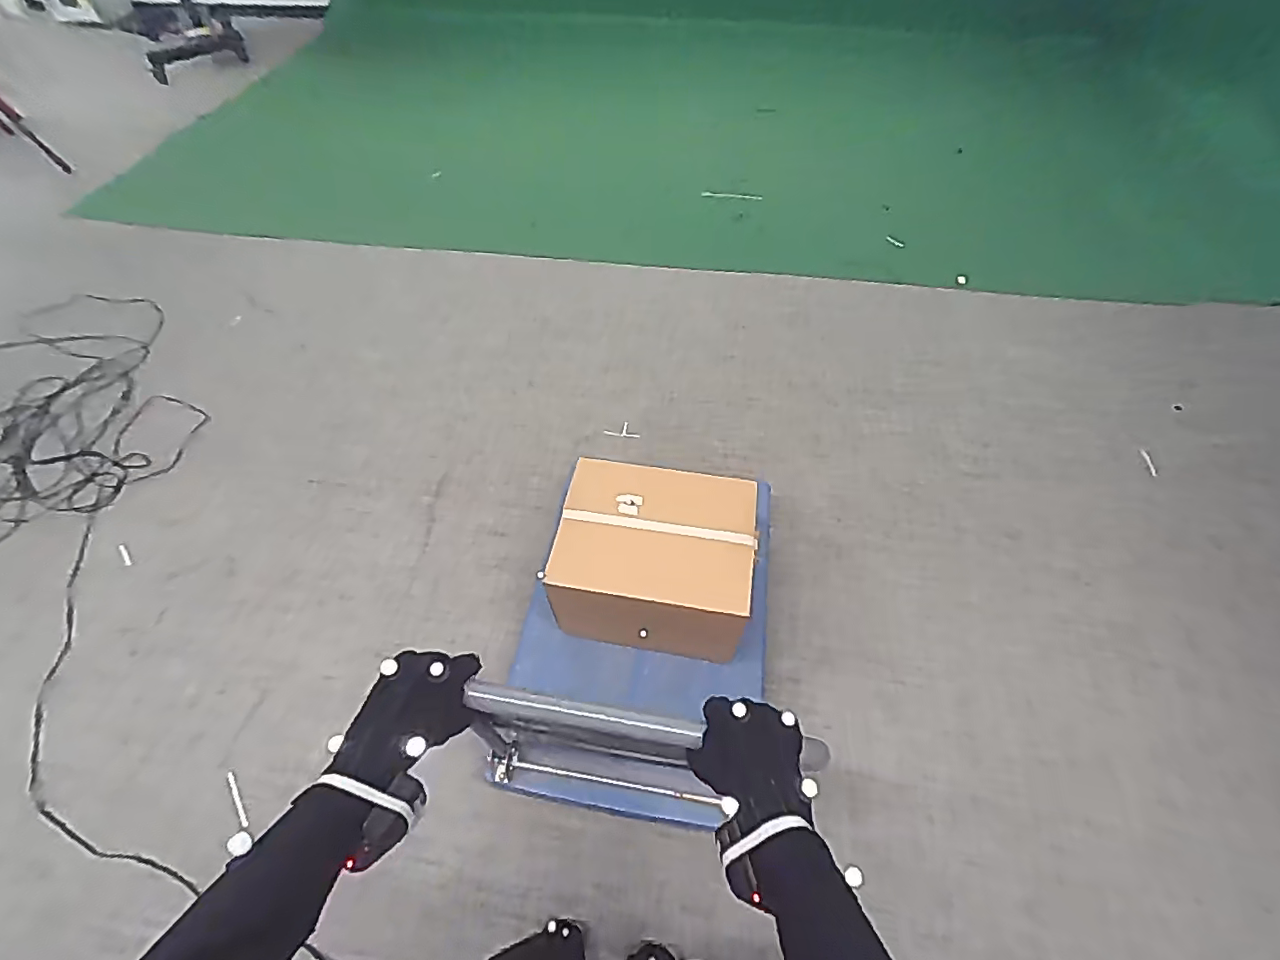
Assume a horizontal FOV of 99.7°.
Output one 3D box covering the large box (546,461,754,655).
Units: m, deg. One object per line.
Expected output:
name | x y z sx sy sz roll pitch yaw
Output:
large box | 0.038 0.185 1.248 0.408 0.320 0.320 7 55 7
